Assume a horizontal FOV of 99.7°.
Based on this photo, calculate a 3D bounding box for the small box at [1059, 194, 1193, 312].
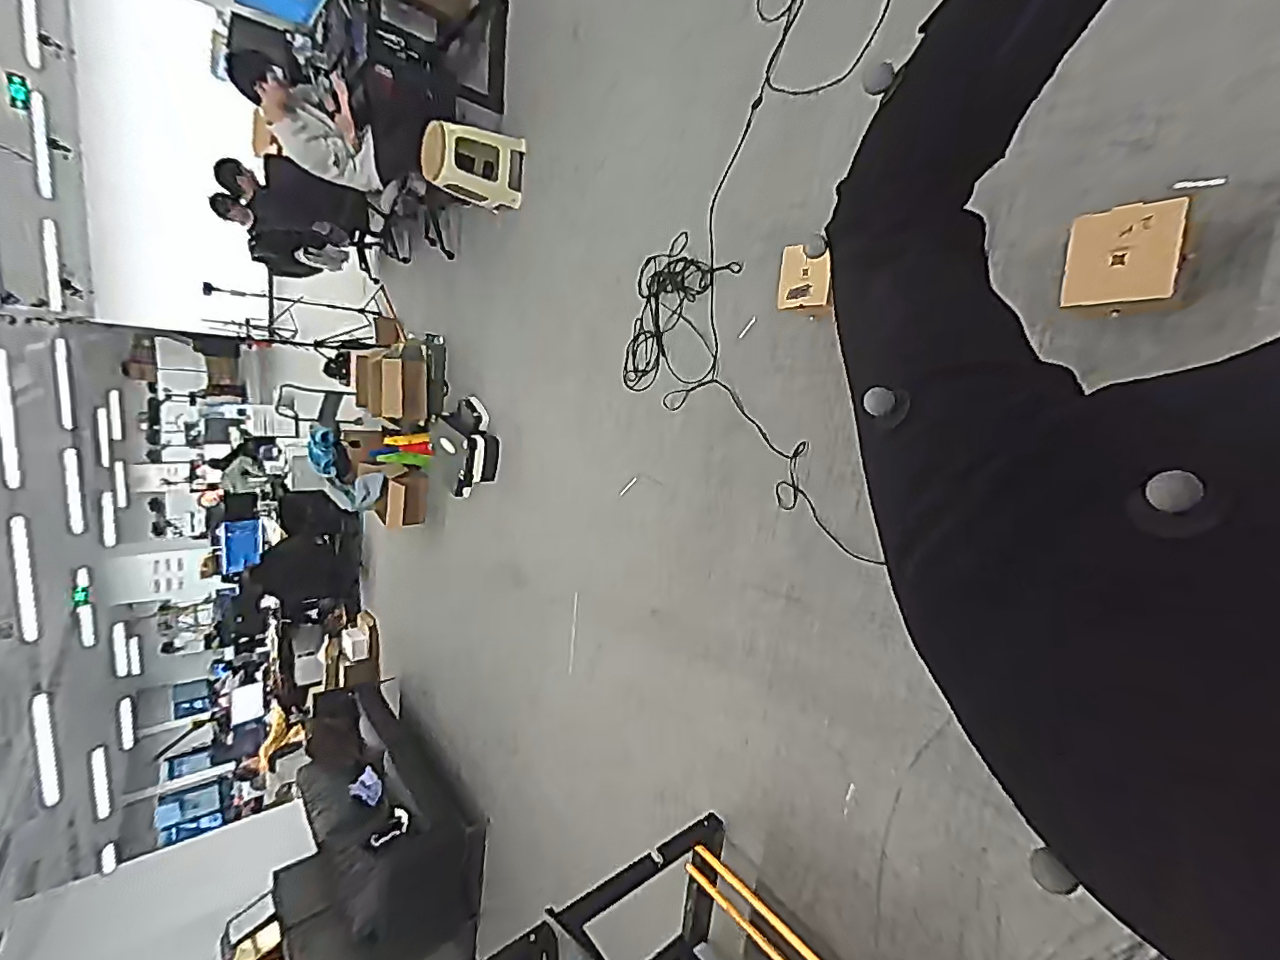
[{"bbox_3d":[0.960,-0.432,1.067,0.168,0.176,0.179,11,102,47],"label":"small box"}]

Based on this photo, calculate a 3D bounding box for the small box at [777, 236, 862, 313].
[{"bbox_3d":[0.521,-0.585,1.565,0.168,0.176,0.179,15,103,48],"label":"small box"}]
